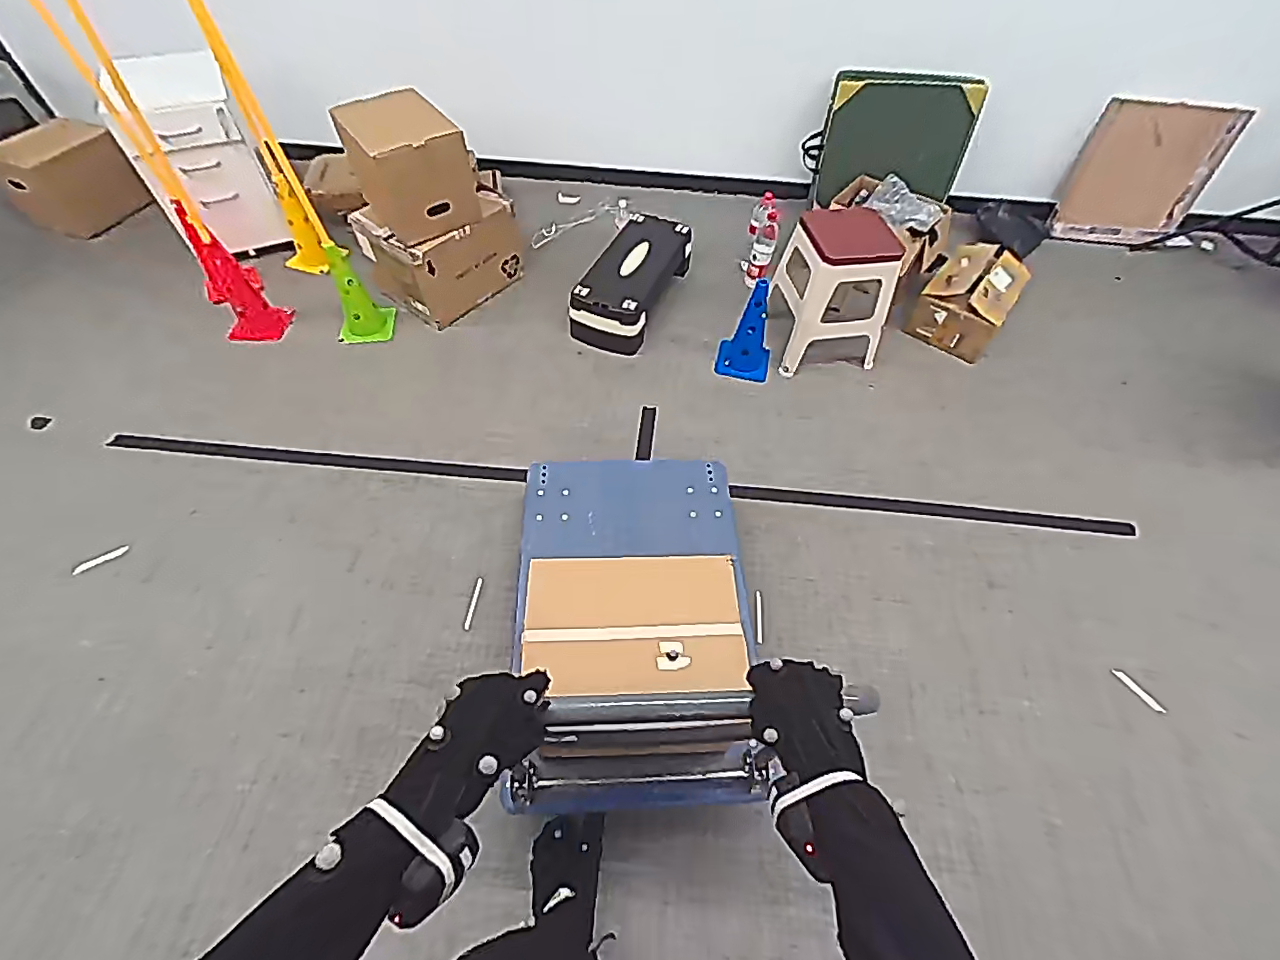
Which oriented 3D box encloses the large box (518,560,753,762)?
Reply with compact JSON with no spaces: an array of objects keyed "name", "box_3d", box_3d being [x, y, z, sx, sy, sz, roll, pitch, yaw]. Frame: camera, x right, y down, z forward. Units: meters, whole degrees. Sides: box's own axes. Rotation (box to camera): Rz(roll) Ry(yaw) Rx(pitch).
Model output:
[{"name":"large box","box_3d":[-0.022,0.375,1.108,0.408,0.320,0.320,0,55,-4]}]
